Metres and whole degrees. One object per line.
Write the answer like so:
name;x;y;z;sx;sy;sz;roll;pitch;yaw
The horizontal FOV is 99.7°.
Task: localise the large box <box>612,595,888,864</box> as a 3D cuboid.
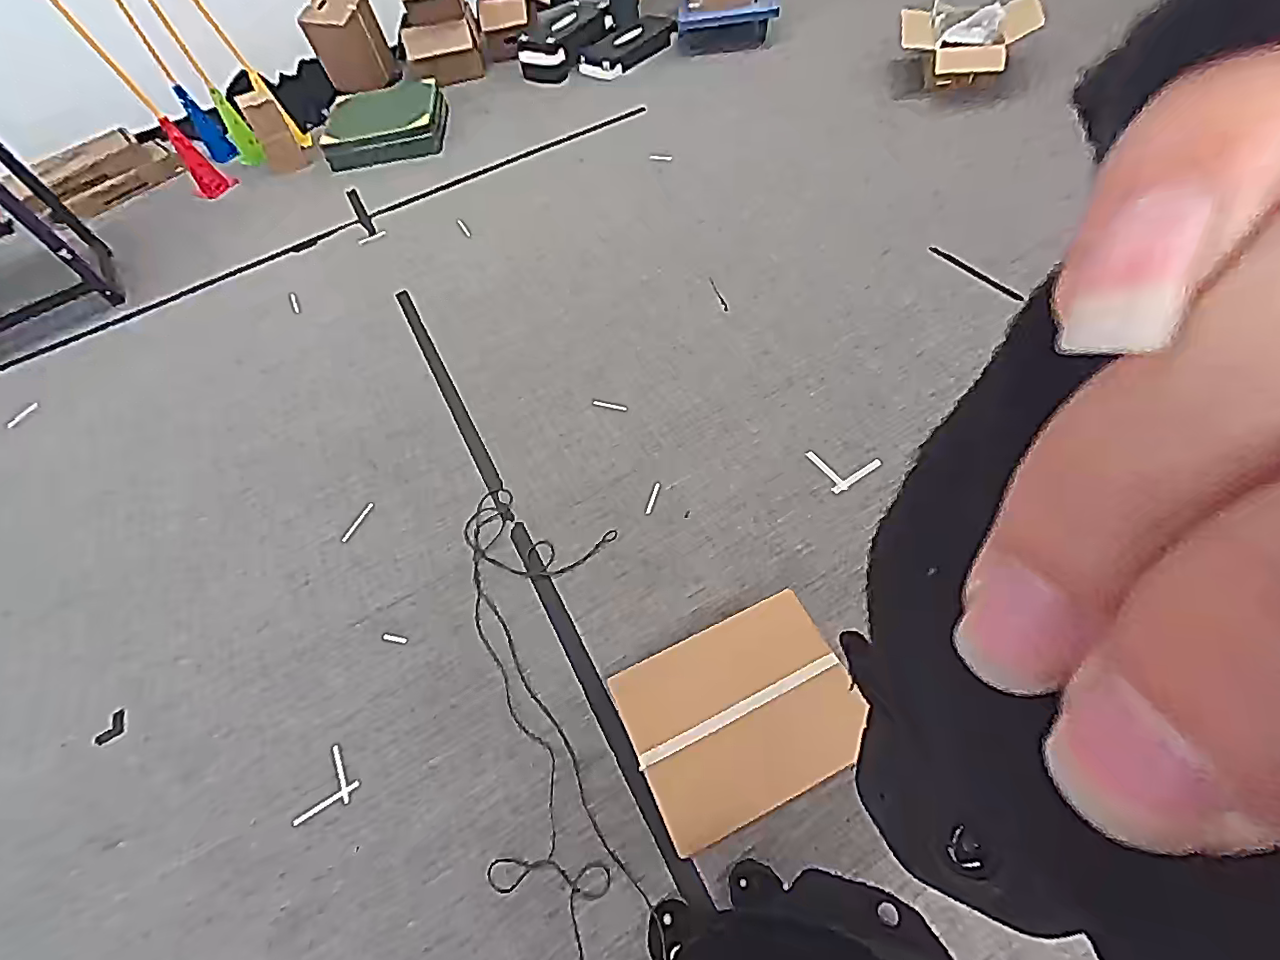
large box;0.203;0.500;1.093;0.408;0.320;0.320;-24;56;-9
